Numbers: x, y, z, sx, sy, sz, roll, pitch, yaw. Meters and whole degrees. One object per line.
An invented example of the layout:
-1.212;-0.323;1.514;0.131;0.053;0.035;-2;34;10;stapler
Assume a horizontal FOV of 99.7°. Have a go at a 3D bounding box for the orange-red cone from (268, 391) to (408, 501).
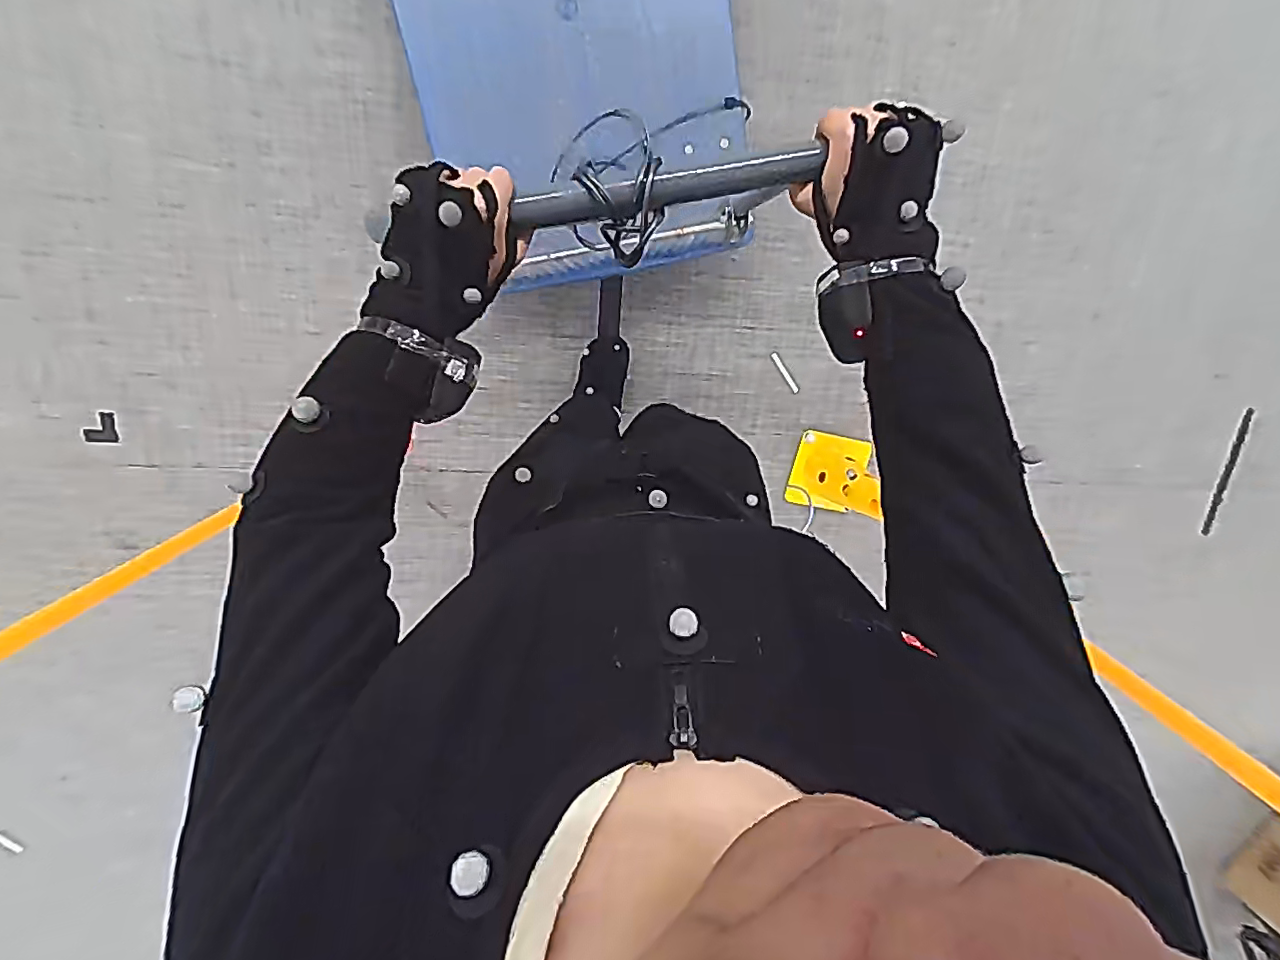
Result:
-0.652;-0.034;1.103;0.199;0.360;0.198;-41;108;5;orange-red cone
